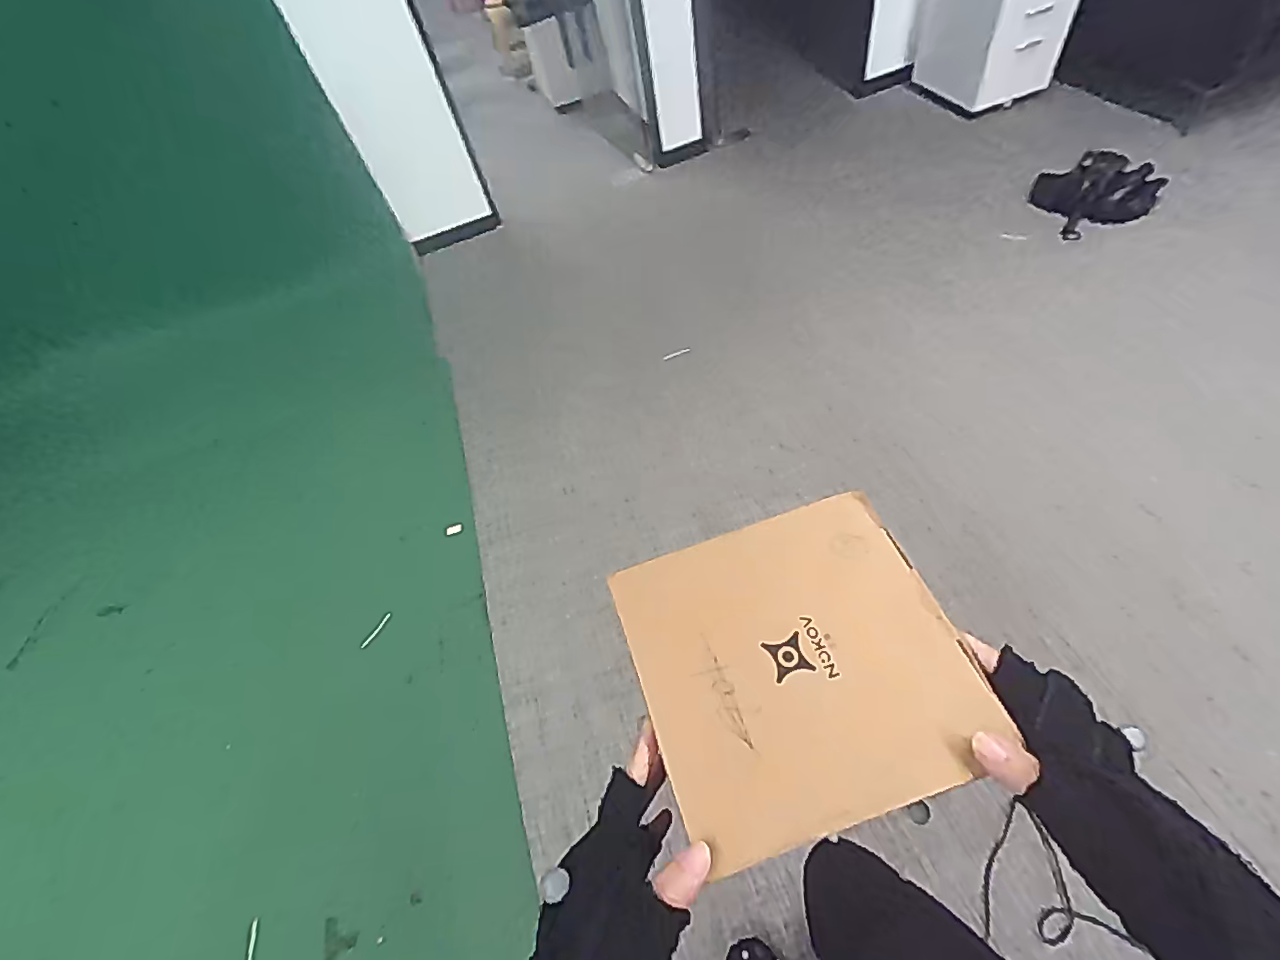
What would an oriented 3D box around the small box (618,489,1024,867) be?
[{"bbox_3d":[0.100,0.138,0.375,0.179,0.176,0.168,-20,56,-3],"label":"small box"}]
